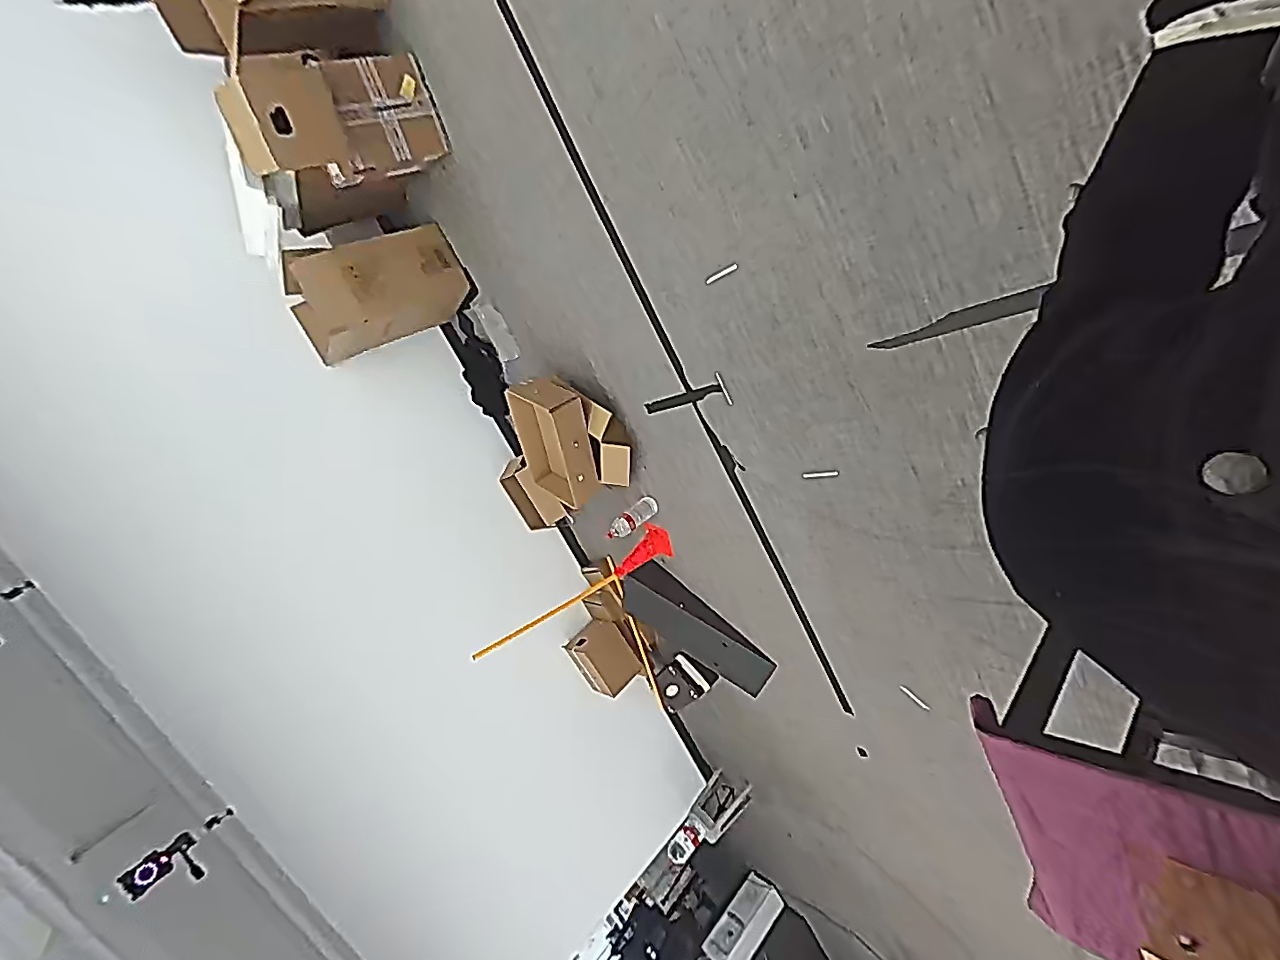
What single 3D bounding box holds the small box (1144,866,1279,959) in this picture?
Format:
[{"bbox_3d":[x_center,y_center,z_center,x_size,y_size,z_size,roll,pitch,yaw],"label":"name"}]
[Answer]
[{"bbox_3d":[0.908,0.736,0.816,0.179,0.176,0.168,-4,118,55],"label":"small box"}]
